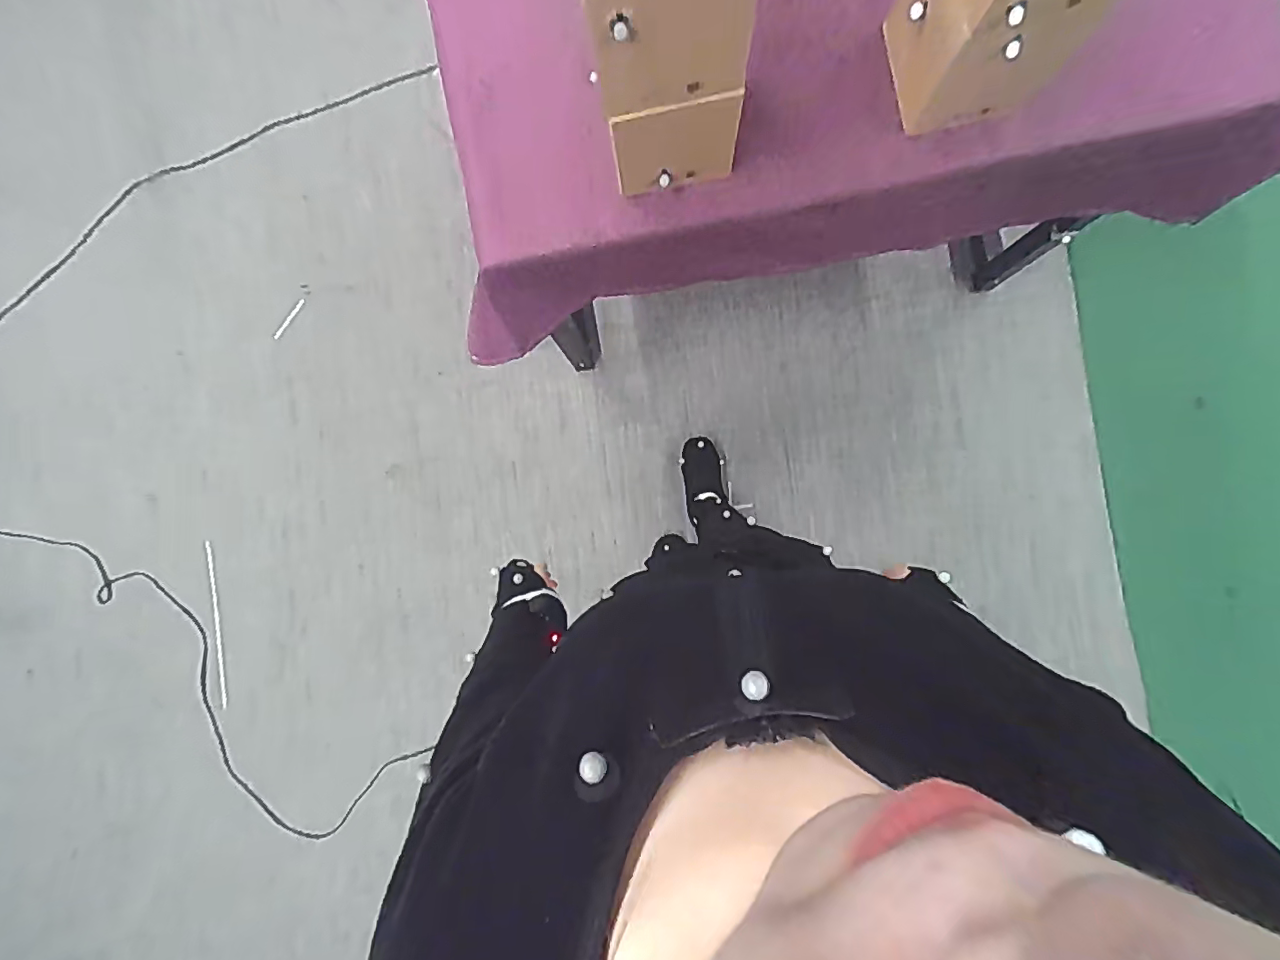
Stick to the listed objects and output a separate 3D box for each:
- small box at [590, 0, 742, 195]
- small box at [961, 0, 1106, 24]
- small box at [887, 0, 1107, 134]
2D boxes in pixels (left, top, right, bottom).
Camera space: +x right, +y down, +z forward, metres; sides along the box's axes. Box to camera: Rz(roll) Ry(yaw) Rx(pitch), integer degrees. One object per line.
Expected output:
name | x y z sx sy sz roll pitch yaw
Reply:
small box | 0.033 -0.524 0.729 0.168 0.176 0.179 -9 88 3
small box | 0.437 -0.611 0.544 0.168 0.176 0.179 -11 86 3
small box | 0.445 -0.603 0.707 0.168 0.176 0.179 -10 86 4
